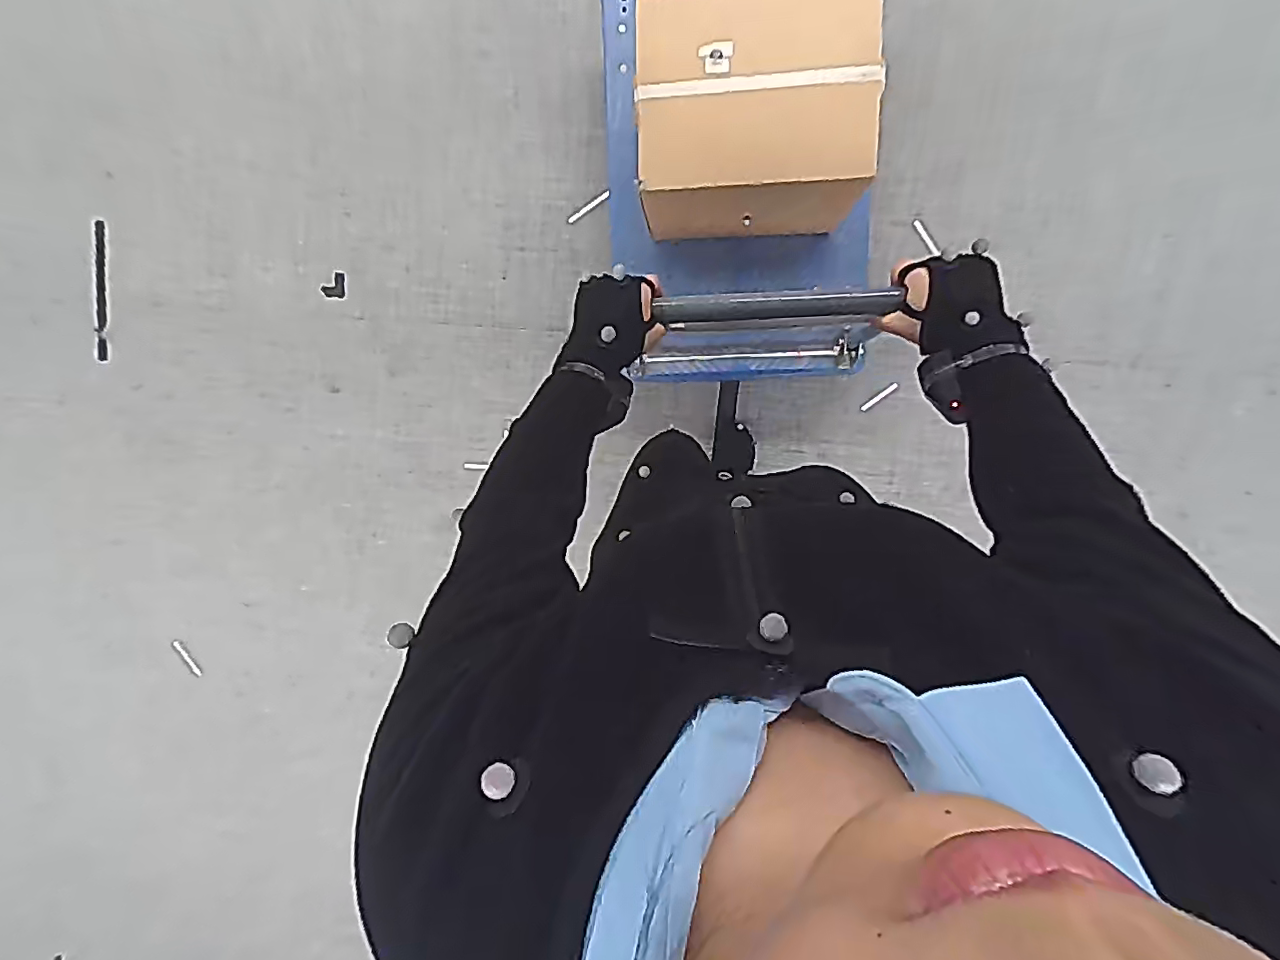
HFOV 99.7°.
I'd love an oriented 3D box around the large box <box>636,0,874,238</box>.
[{"bbox_3d":[0.214,-0.695,1.077,0.408,0.320,0.320,0,97,7],"label":"large box"}]
